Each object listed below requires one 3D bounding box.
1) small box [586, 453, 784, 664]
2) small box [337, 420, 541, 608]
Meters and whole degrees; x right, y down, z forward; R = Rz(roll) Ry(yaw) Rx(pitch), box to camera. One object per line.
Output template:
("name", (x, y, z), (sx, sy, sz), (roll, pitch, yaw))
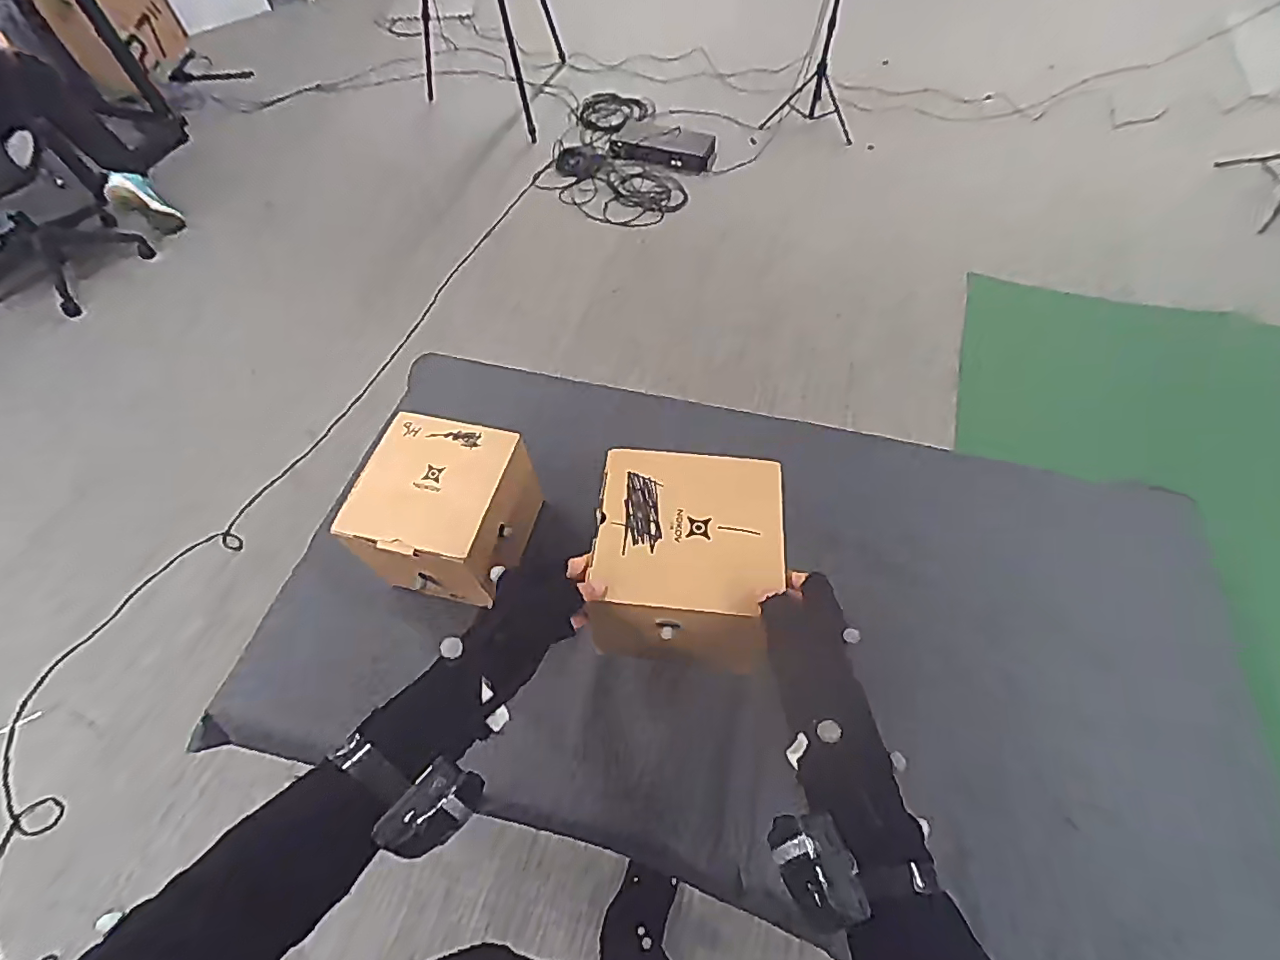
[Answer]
("small box", (0.047, 0.089, 0.577), (0.179, 0.176, 0.168), (3, 56, 3))
("small box", (-0.242, 0.050, 0.708), (0.168, 0.176, 0.179), (11, 60, 9))
